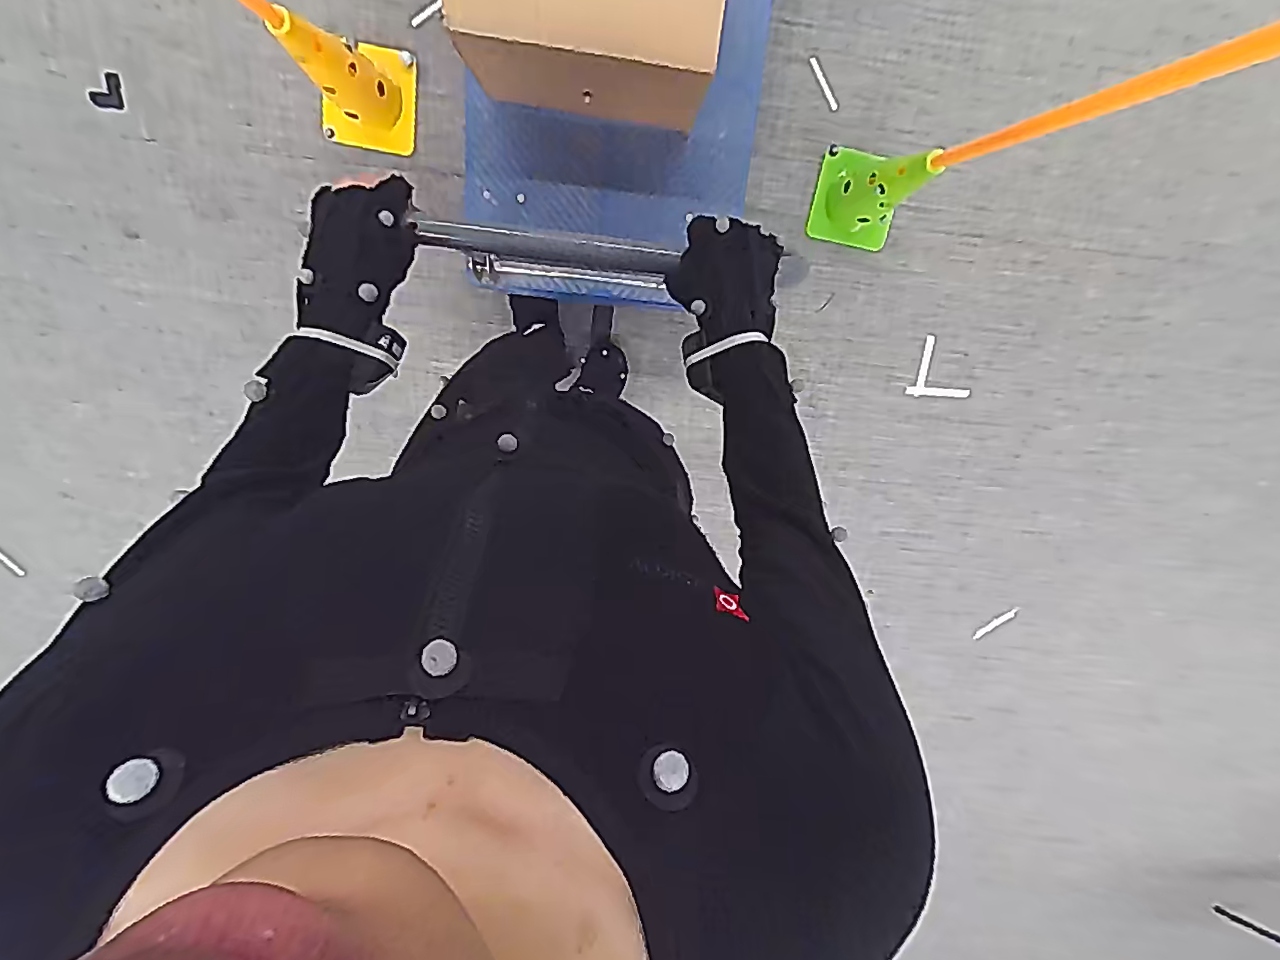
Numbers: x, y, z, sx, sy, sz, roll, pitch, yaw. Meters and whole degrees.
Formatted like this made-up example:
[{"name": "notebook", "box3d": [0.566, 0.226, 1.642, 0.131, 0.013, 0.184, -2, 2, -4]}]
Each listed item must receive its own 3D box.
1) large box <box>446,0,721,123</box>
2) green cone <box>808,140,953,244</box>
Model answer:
[{"name": "large box", "box3d": [-0.071, -0.830, 0.896, 0.408, 0.320, 0.320, 7, 109, -3]}, {"name": "green cone", "box3d": [0.525, -0.632, 1.134, 0.202, 0.368, 0.200, 9, 108, -6]}]
